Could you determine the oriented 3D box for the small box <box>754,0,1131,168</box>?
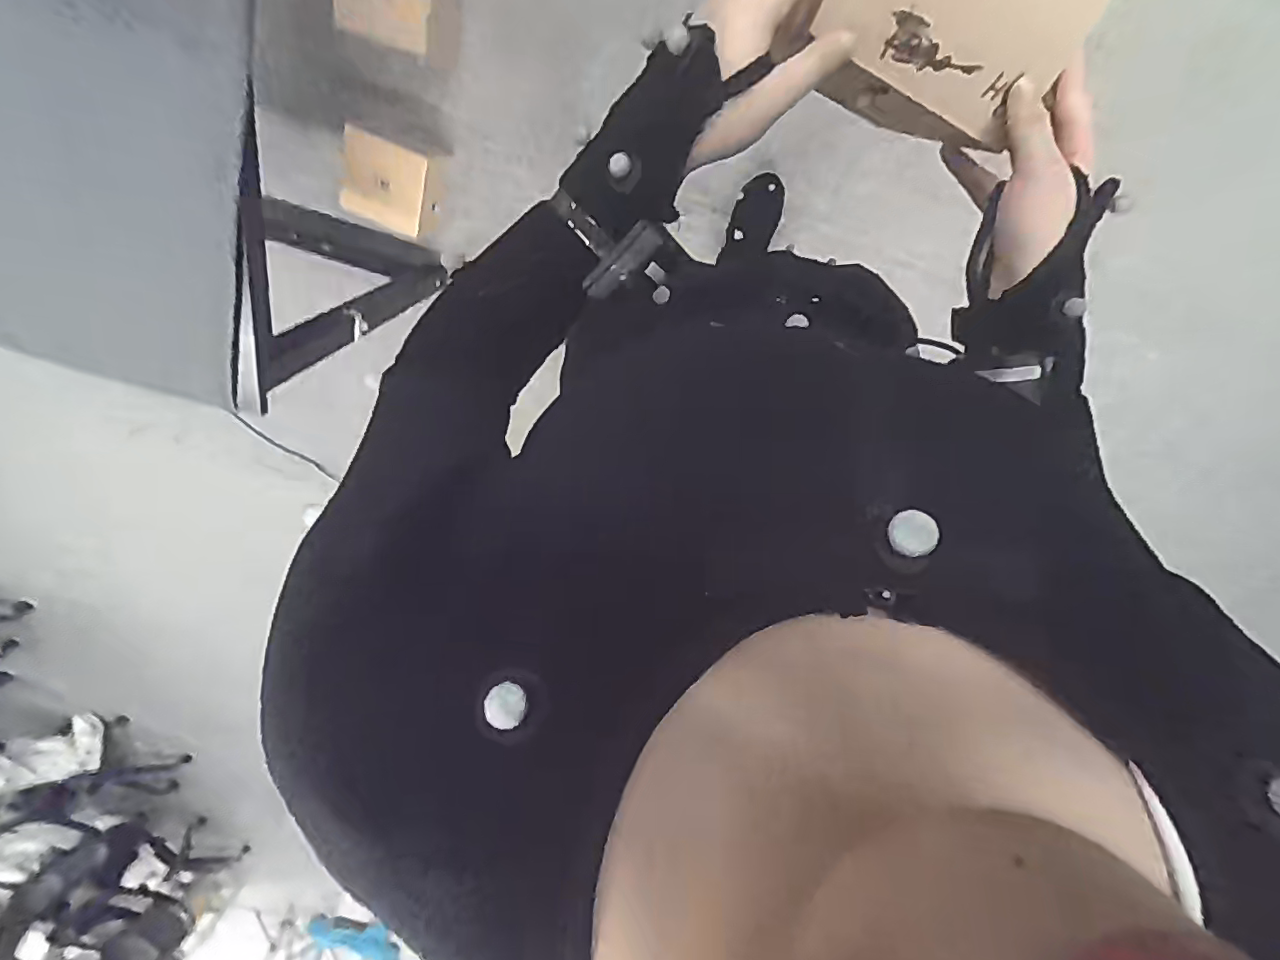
[{"bbox_3d":[0.199,-0.344,0.354,0.168,0.176,0.179,14,126,-20],"label":"small box"}]

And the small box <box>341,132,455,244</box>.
[{"bbox_3d":[-0.534,-0.656,1.207,0.179,0.176,0.168,21,122,-6],"label":"small box"}]
